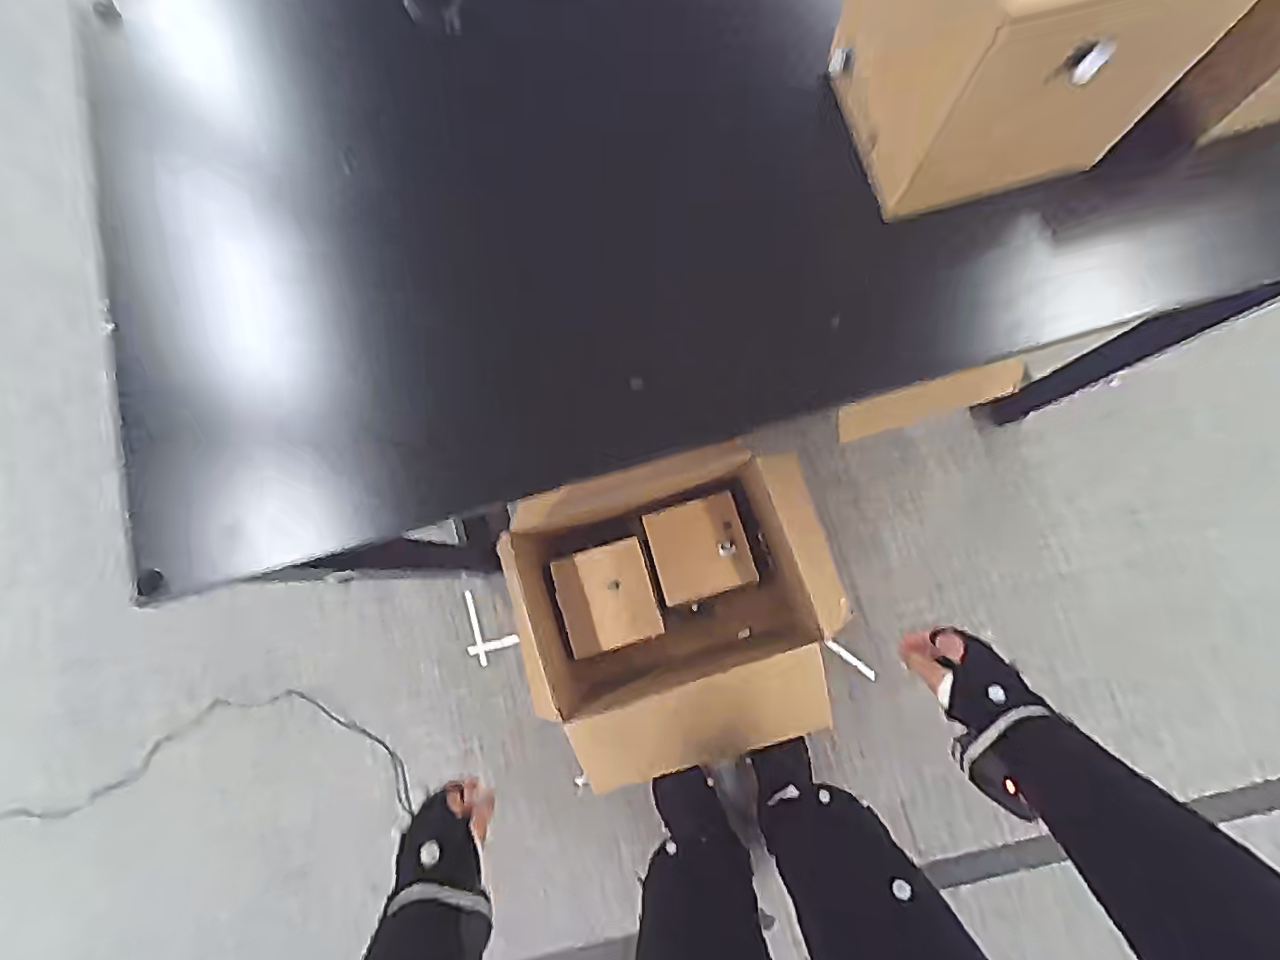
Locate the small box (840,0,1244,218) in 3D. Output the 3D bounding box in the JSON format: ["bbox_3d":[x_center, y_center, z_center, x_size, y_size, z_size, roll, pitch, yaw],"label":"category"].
[{"bbox_3d":[0.259,-0.320,0.381,0.179,0.176,0.168,-14,79,1],"label":"small box"}]

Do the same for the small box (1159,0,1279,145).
[{"bbox_3d":[0.496,-0.383,0.374,0.168,0.176,0.179,-15,78,2],"label":"small box"}]
